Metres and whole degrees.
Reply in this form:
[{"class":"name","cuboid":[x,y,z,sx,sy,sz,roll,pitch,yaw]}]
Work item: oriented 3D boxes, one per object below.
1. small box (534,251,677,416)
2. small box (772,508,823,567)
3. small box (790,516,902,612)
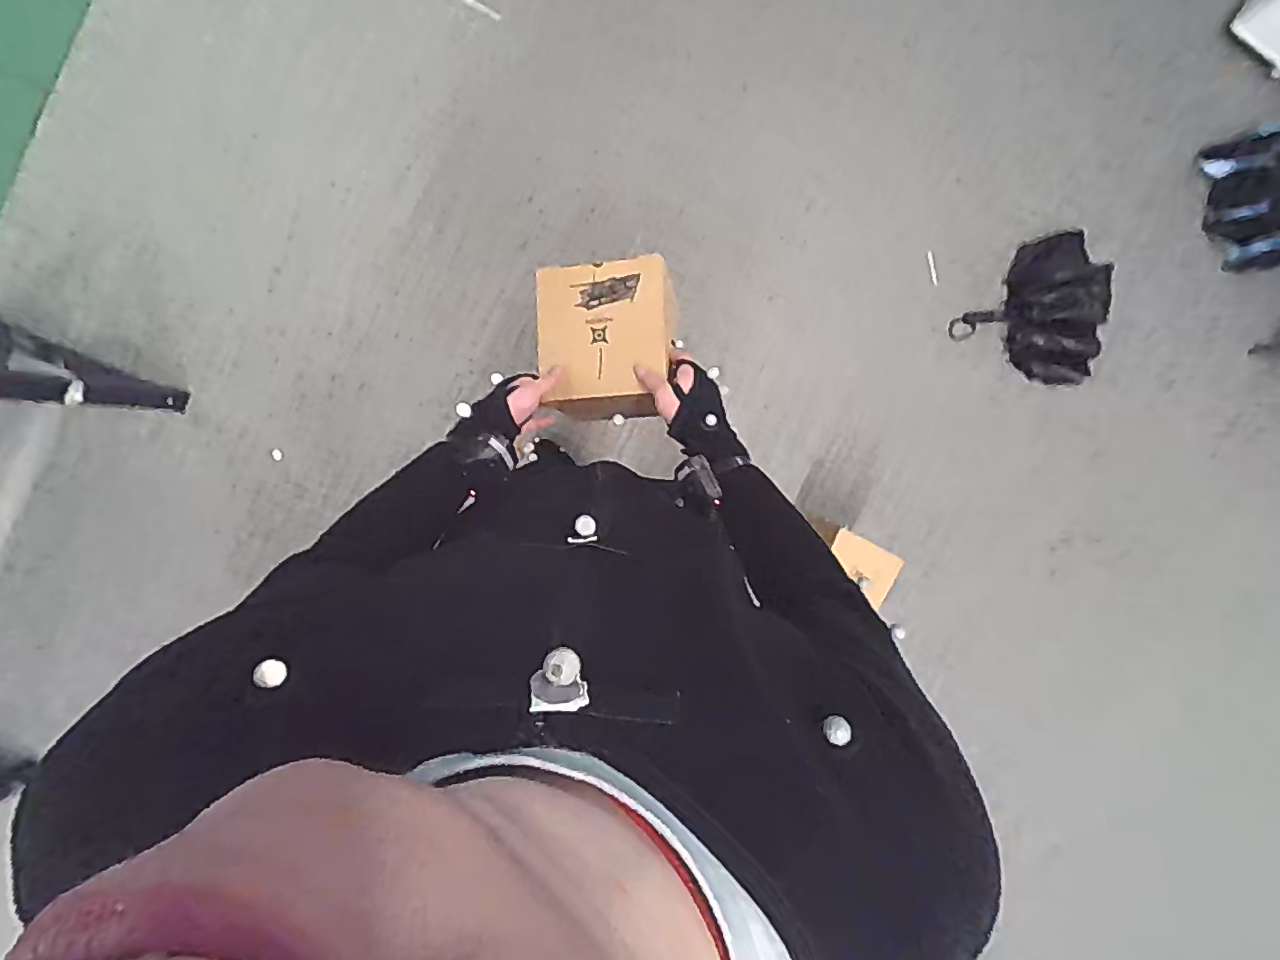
[{"class":"small box","cuboid":[-0.040,-0.193,0.763,0.168,0.176,0.179,-4,88,11]},{"class":"small box","cuboid":[0.497,0.189,1.520,0.179,0.176,0.168,26,92,-4]},{"class":"small box","cuboid":[0.505,0.201,1.357,0.179,0.176,0.168,26,93,-6]}]
